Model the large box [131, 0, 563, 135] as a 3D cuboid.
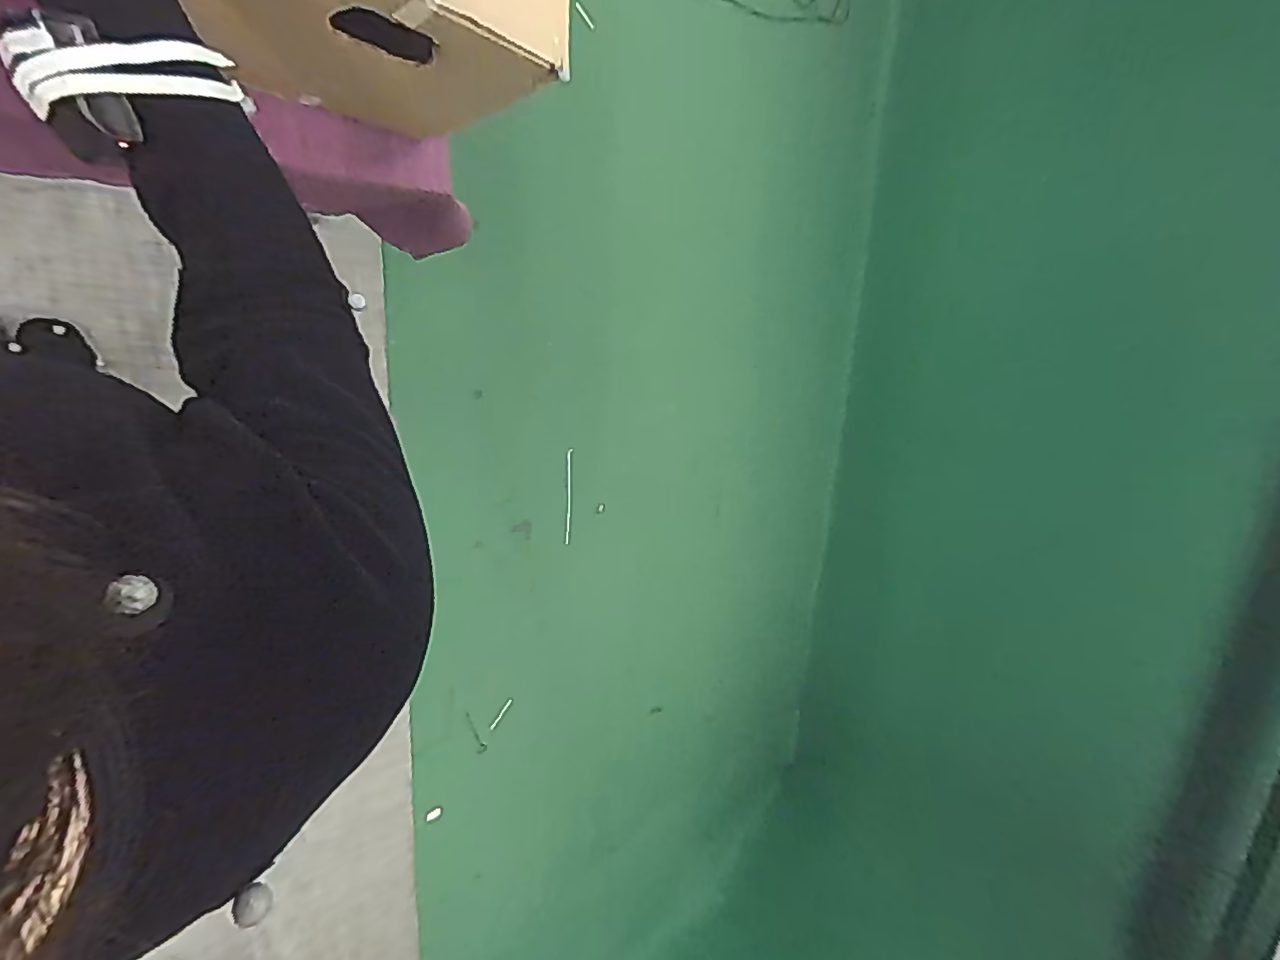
[{"bbox_3d":[-0.287,-0.623,0.512,0.320,0.320,0.408,-12,111,-46],"label":"large box"}]
